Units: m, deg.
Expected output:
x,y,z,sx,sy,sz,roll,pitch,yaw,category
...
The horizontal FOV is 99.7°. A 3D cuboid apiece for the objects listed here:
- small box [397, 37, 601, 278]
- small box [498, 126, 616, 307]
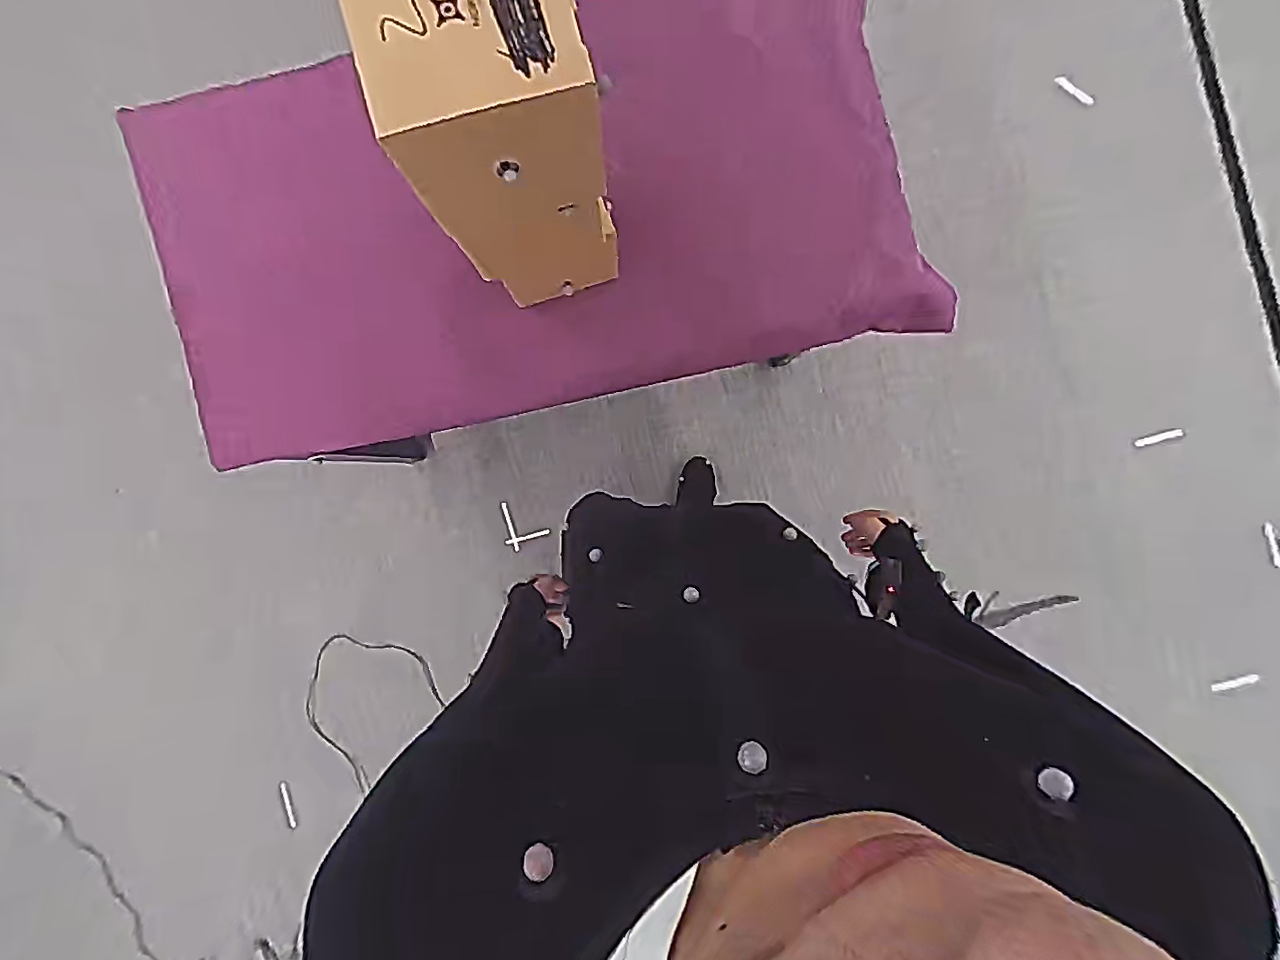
x,y,z,sx,sy,sz,roll,pitch,yaw,category
-0.155,-0.370,0.655,0.179,0.176,0.168,-18,90,-1,small box
-0.142,-0.386,0.818,0.179,0.176,0.168,-18,90,-2,small box
